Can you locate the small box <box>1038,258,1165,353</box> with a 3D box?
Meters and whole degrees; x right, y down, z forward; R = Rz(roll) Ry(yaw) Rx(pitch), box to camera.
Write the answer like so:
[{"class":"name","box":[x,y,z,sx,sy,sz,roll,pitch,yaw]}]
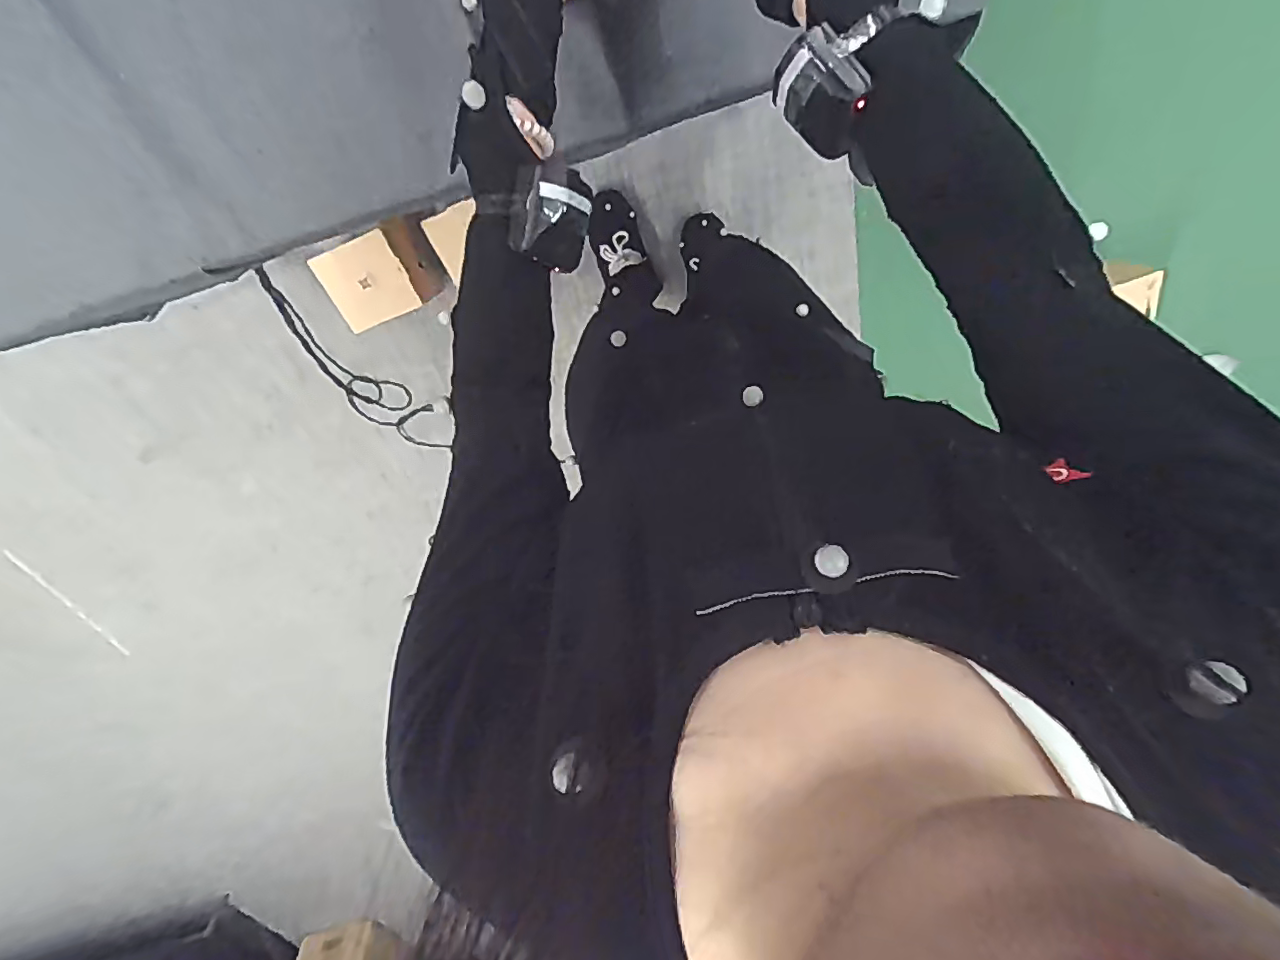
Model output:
[{"class":"small box","box":[1.152,-0.445,1.369,0.179,0.176,0.168,-16,121,6]}]
